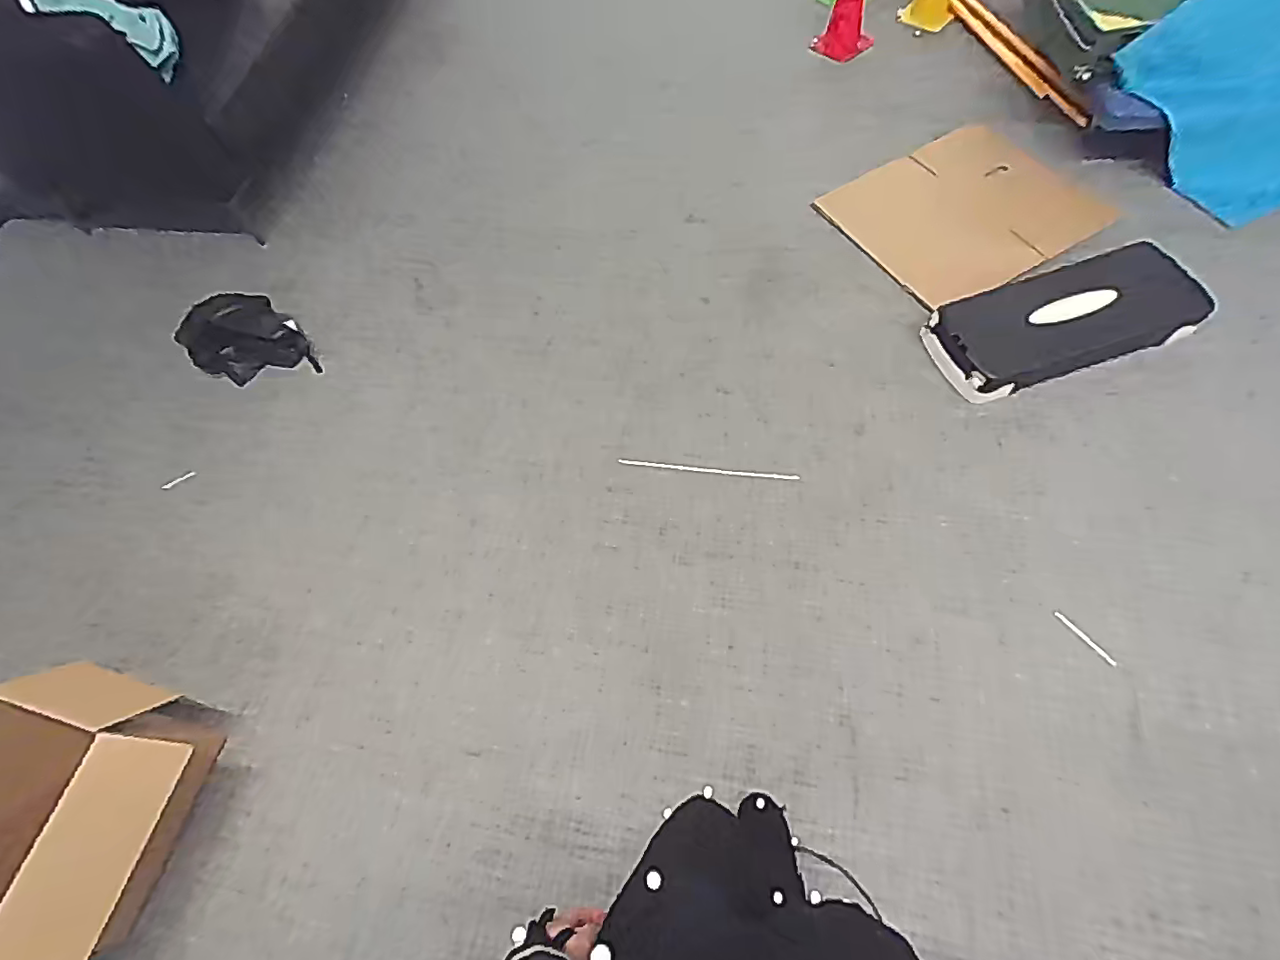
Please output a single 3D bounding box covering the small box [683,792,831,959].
[{"bbox_3d":[0.202,0.712,0.951,0.179,0.168,0.176,42,98,8],"label":"small box"}]
